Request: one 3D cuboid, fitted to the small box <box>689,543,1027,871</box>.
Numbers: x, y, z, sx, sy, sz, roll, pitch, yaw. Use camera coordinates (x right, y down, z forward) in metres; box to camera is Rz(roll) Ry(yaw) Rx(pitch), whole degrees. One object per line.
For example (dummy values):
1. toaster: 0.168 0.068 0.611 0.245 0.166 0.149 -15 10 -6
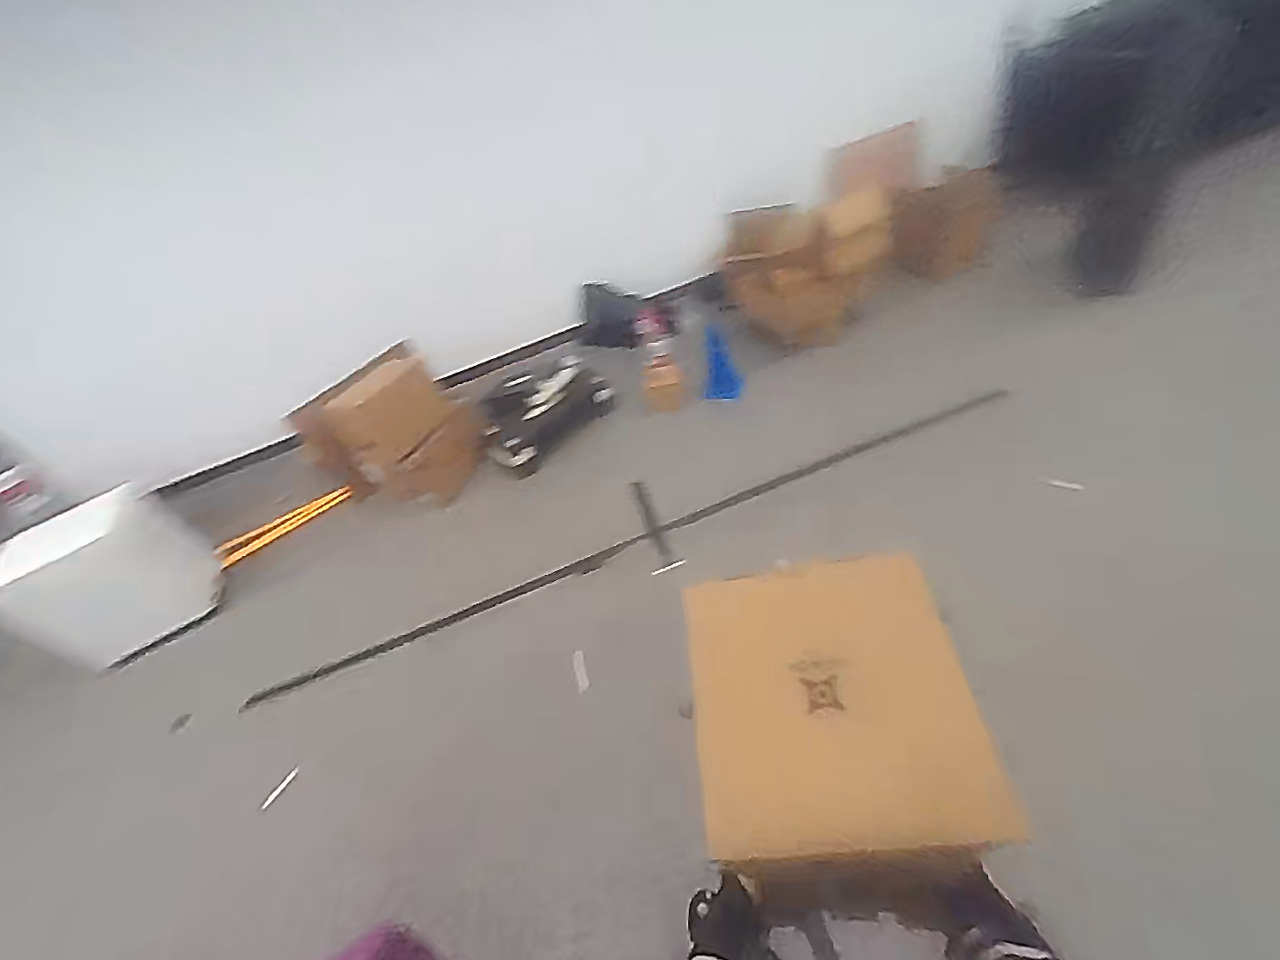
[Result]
1. small box: 0.140 0.175 0.397 0.168 0.176 0.179 -12 48 12
